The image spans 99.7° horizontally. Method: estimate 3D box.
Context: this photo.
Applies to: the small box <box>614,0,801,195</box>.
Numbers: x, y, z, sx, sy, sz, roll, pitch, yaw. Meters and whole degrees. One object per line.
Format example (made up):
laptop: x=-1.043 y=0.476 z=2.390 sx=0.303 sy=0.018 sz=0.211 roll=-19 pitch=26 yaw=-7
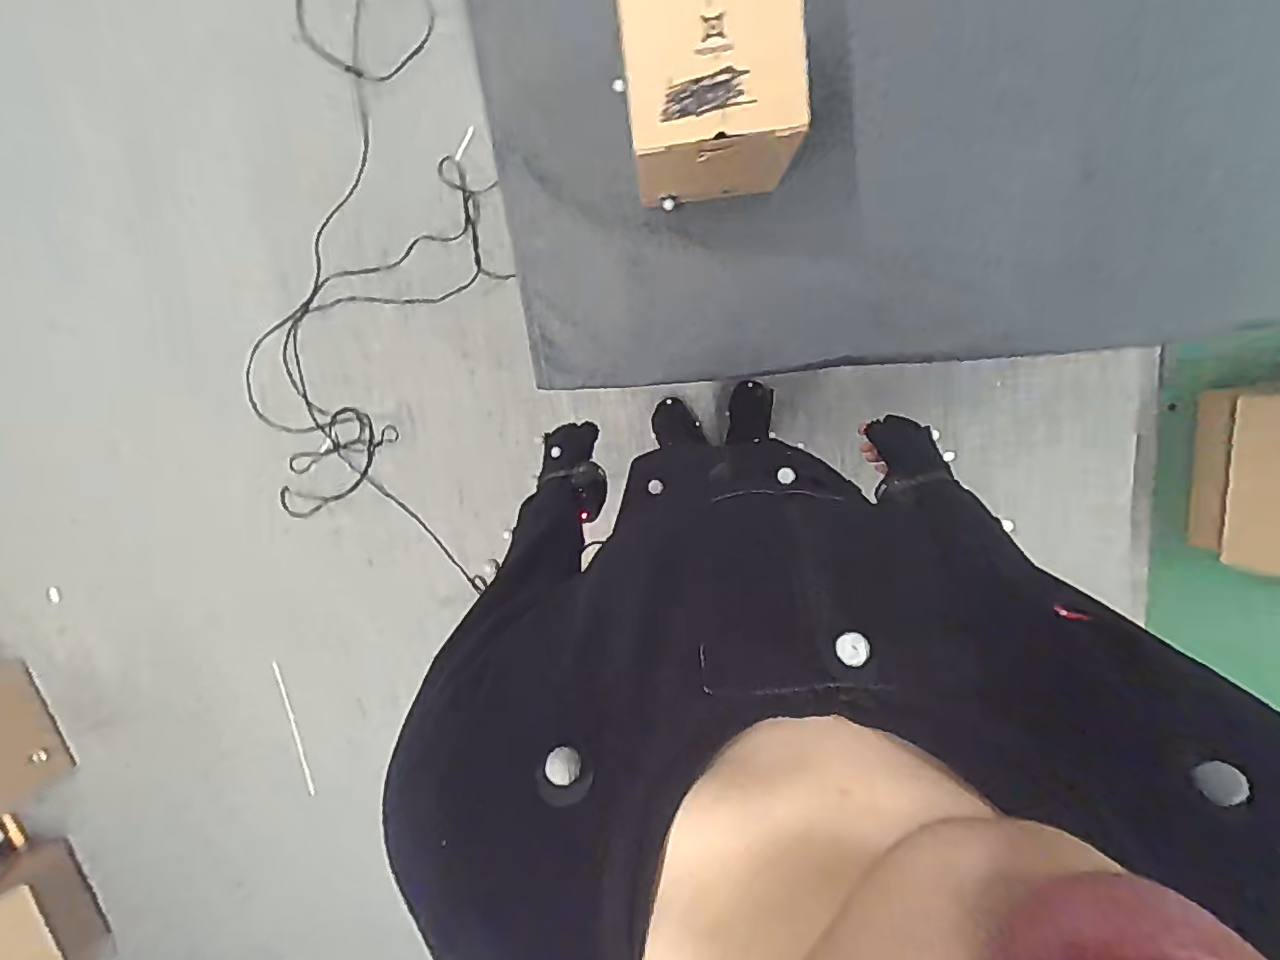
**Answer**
small box: x=0.067 y=-0.422 z=0.573 sx=0.168 sy=0.176 sz=0.179 roll=-6 pitch=100 yaw=4
